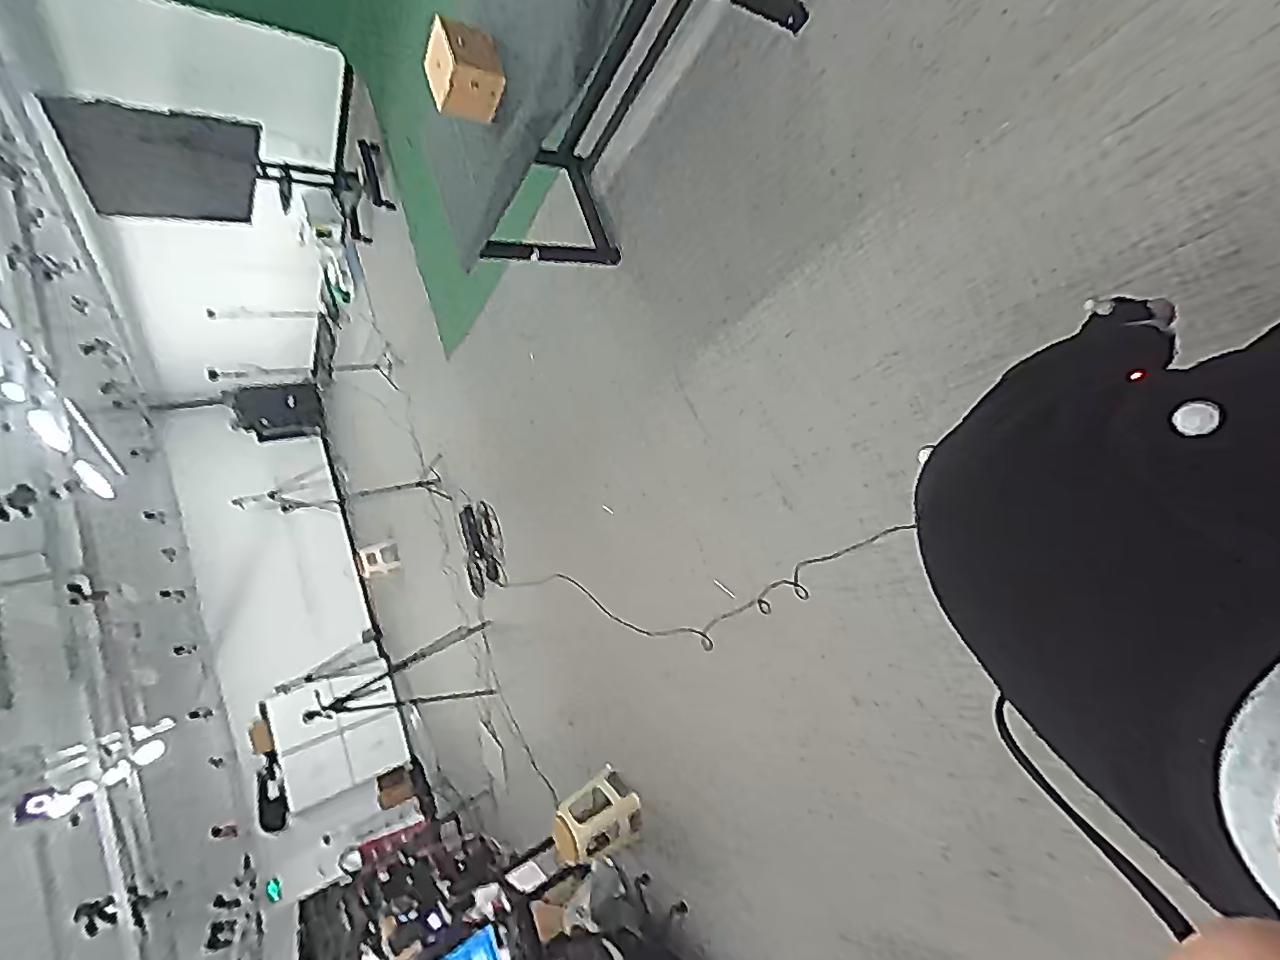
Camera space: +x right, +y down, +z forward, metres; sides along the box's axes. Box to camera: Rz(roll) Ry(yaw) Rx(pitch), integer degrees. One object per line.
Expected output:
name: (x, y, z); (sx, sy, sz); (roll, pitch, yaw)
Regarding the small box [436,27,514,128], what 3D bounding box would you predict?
small box: (-0.504, -1.219, 1.656); (0.168, 0.176, 0.179); (-30, 75, 51)
